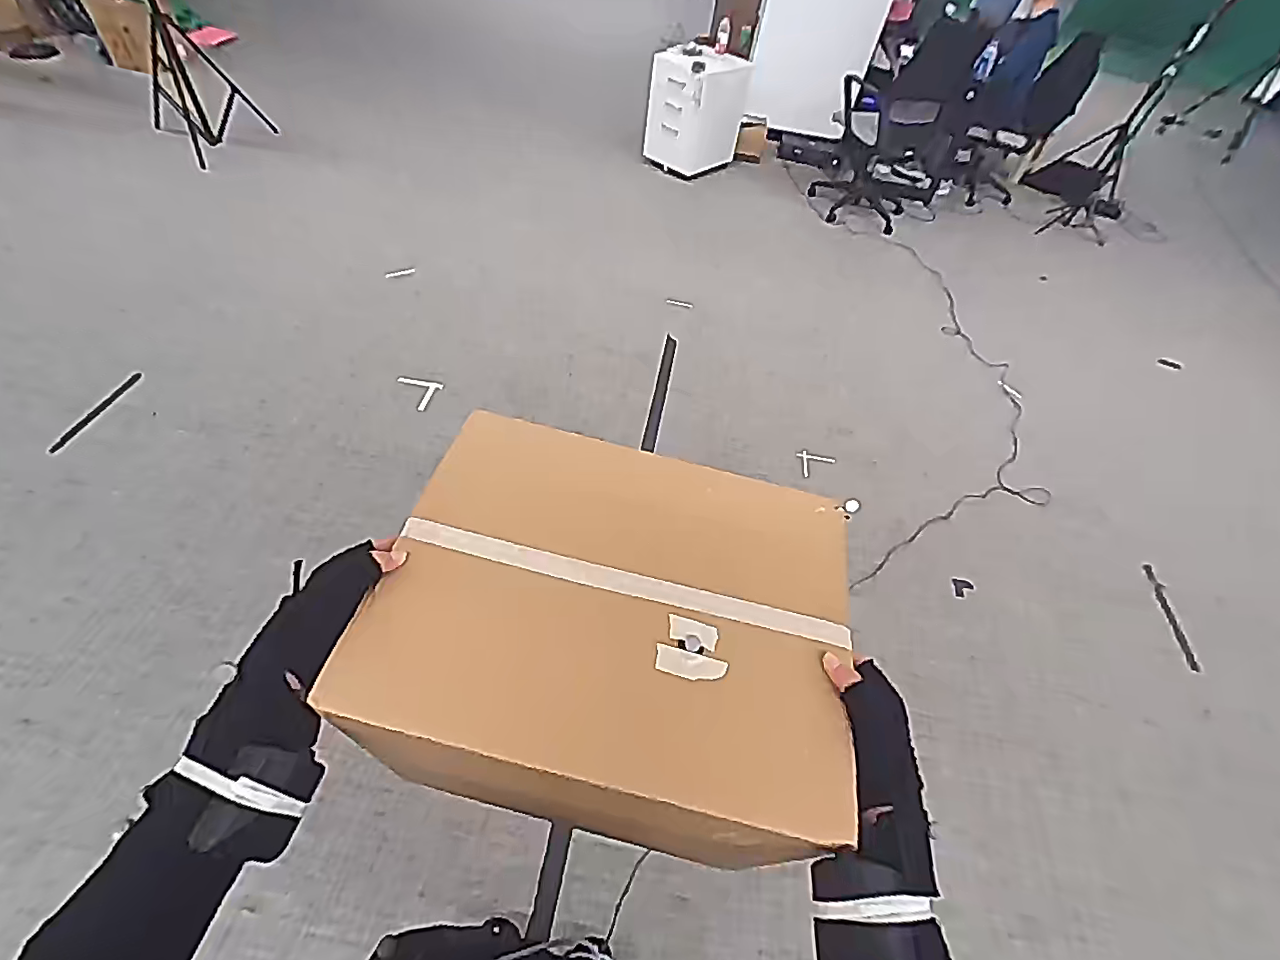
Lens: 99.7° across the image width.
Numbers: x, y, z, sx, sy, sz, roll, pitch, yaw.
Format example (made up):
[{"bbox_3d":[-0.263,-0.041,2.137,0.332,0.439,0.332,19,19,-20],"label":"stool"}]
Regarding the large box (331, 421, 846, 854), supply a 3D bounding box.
[{"bbox_3d":[-0.033,0.185,0.607,0.408,0.320,0.320,14,53,1],"label":"large box"}]
